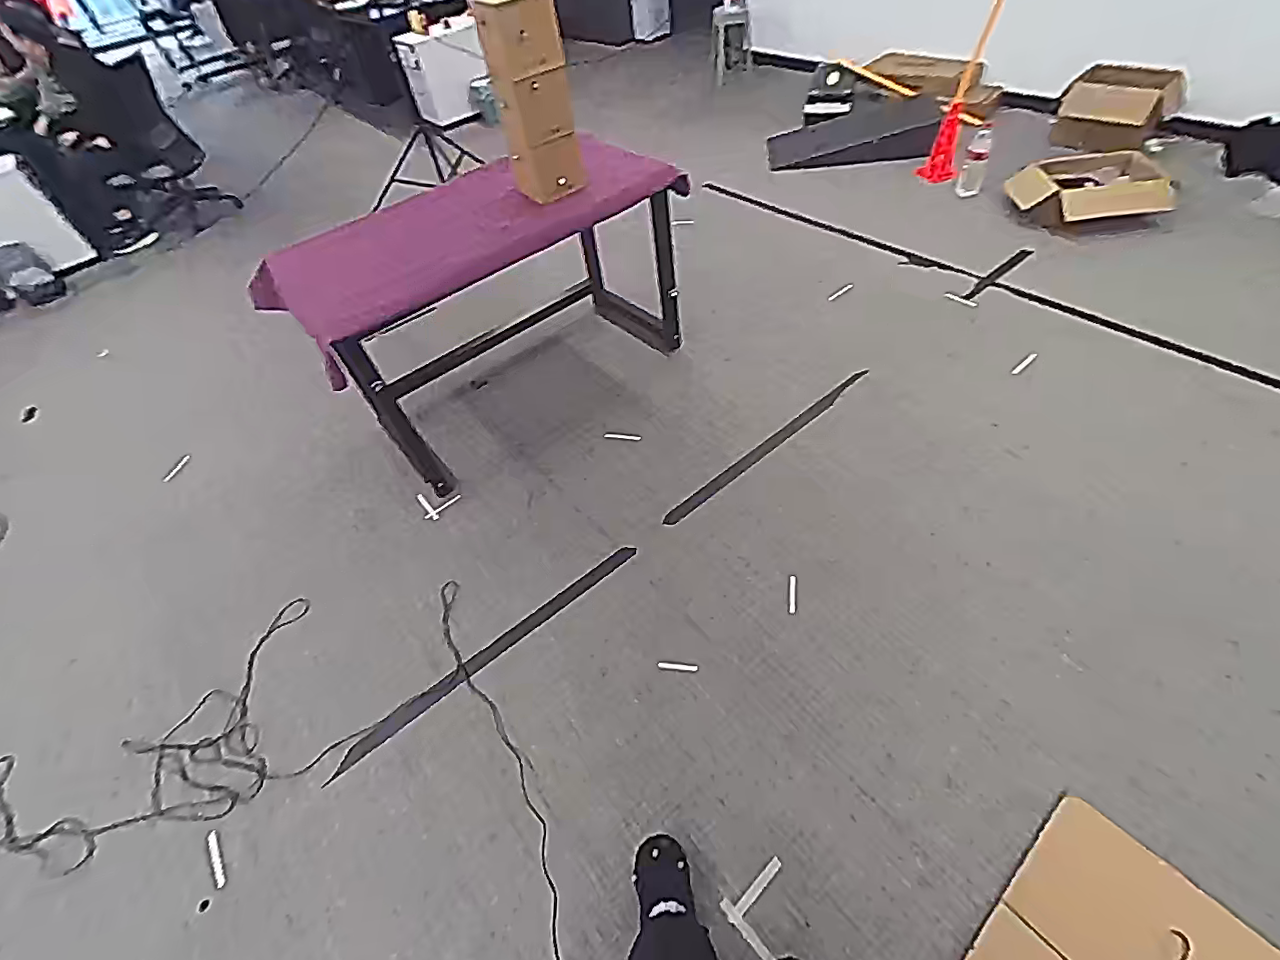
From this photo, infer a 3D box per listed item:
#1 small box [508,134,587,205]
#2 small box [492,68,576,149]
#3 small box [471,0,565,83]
[{"bbox_3d":[-0.294,-1.011,1.735,0.168,0.176,0.179,-34,54,-17],"label":"small box"},{"bbox_3d":[-0.311,-1.111,1.607,0.168,0.176,0.179,-32,52,-16],"label":"small box"},{"bbox_3d":[-0.327,-1.210,1.478,0.168,0.176,0.179,-32,53,-16],"label":"small box"}]
